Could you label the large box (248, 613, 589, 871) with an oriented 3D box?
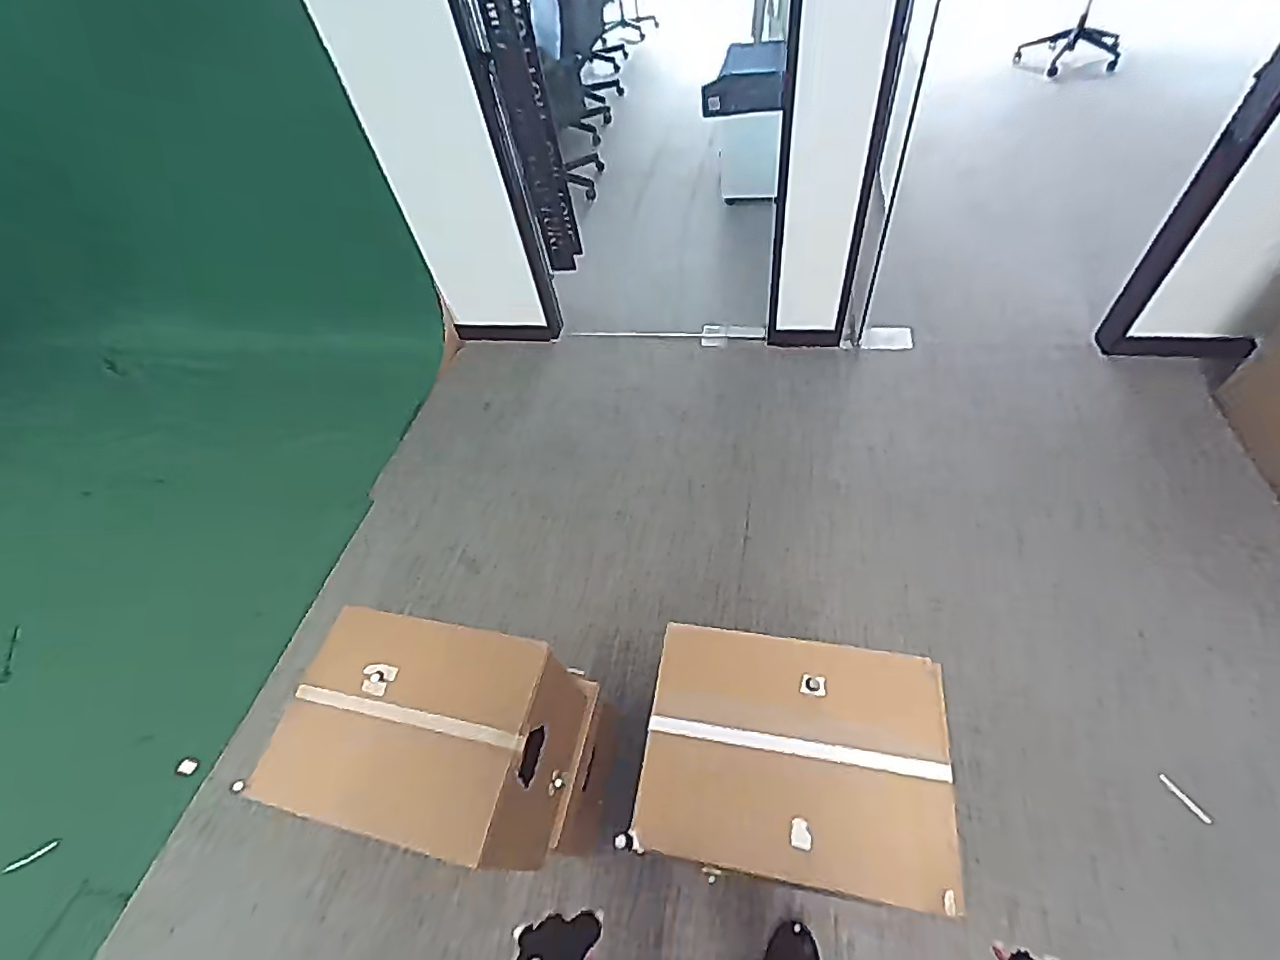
[{"bbox_3d":[-0.345,0.464,0.964,0.408,0.320,0.320,6,55,16],"label":"large box"}]
